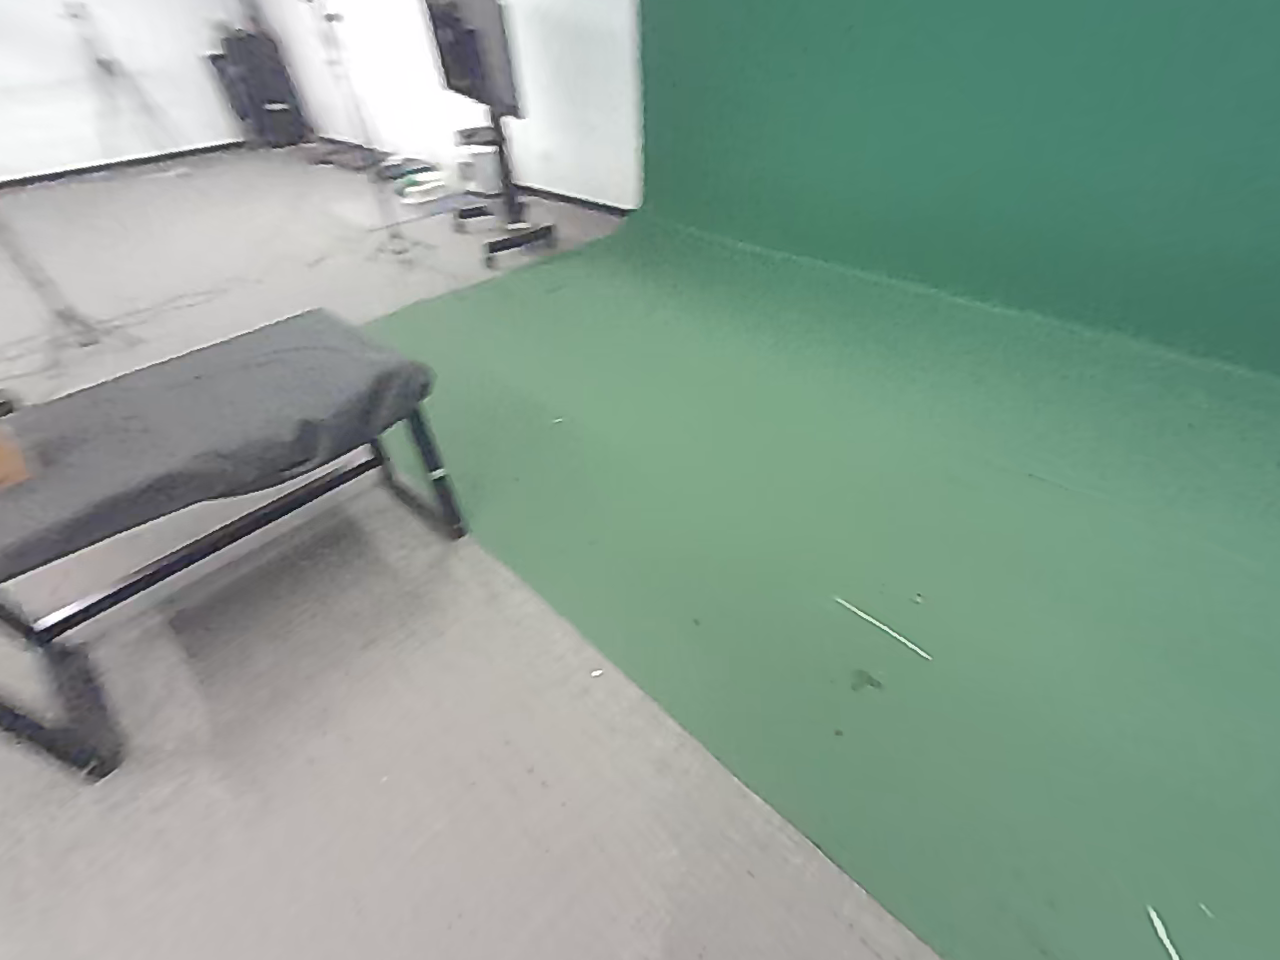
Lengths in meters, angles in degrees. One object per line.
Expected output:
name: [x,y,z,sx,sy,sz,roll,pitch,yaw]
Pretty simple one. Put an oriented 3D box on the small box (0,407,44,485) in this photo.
small box: [-1.475,-0.081,1.182,0.179,0.176,0.168,28,50,30]
